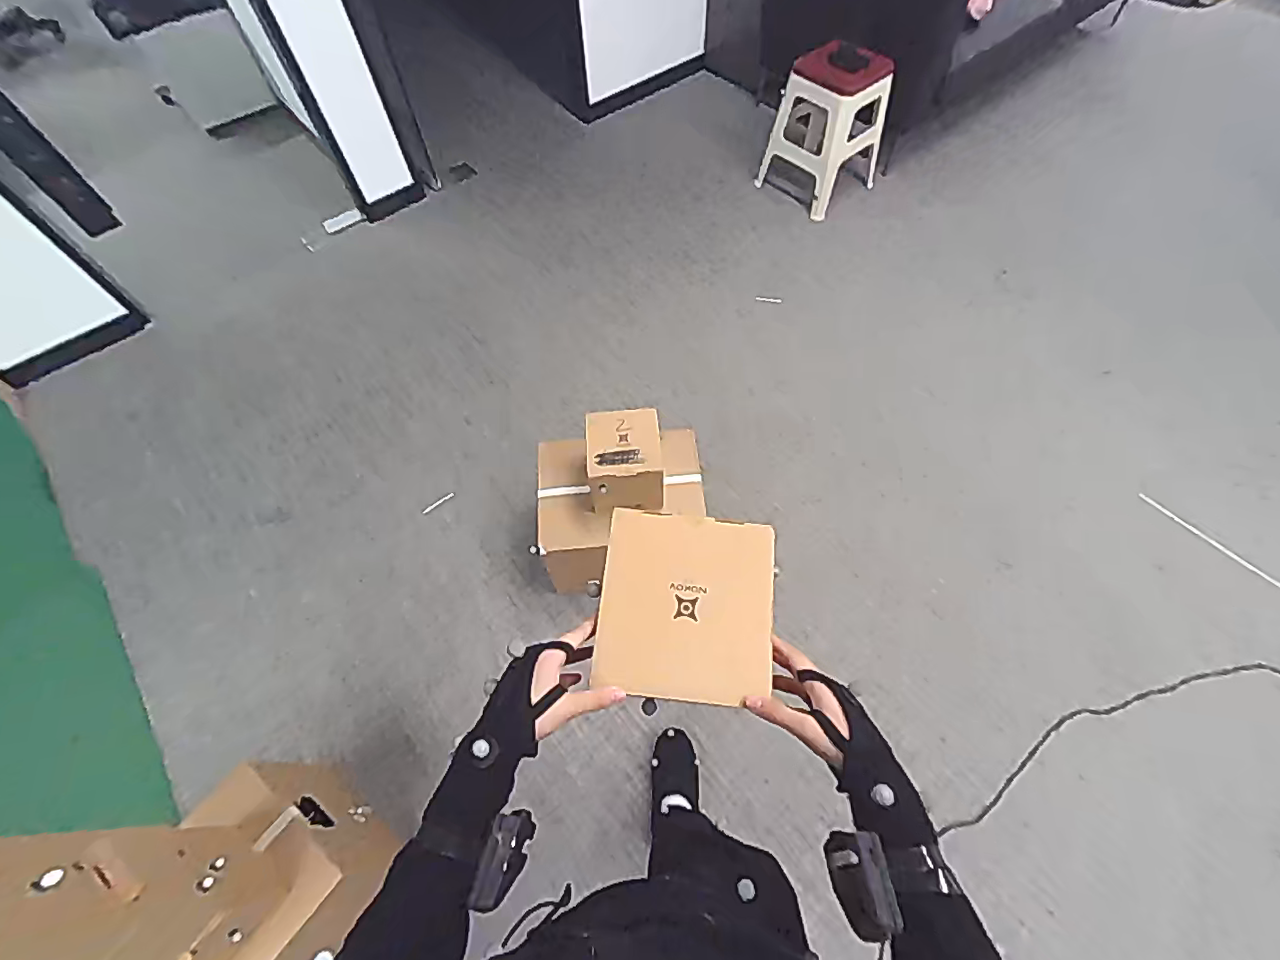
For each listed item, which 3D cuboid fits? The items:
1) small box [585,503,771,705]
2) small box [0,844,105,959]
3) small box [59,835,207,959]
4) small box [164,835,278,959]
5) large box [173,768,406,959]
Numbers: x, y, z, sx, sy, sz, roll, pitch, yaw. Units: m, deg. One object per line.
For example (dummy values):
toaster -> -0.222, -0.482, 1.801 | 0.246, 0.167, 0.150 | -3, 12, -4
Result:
small box -> 0.039, 0.142, 0.585 | 0.168, 0.176, 0.179 | 6, 66, 0
small box -> -0.738, 0.522, 0.574 | 0.168, 0.176, 0.179 | 32, 64, 19
small box -> -0.731, 0.606, 0.715 | 0.168, 0.176, 0.179 | 32, 65, 18
small box -> -0.727, 0.693, 0.853 | 0.179, 0.176, 0.168 | 33, 65, 19
large box -> -0.756, 0.841, 1.050 | 0.320, 0.320, 0.408 | 31, 66, 20
